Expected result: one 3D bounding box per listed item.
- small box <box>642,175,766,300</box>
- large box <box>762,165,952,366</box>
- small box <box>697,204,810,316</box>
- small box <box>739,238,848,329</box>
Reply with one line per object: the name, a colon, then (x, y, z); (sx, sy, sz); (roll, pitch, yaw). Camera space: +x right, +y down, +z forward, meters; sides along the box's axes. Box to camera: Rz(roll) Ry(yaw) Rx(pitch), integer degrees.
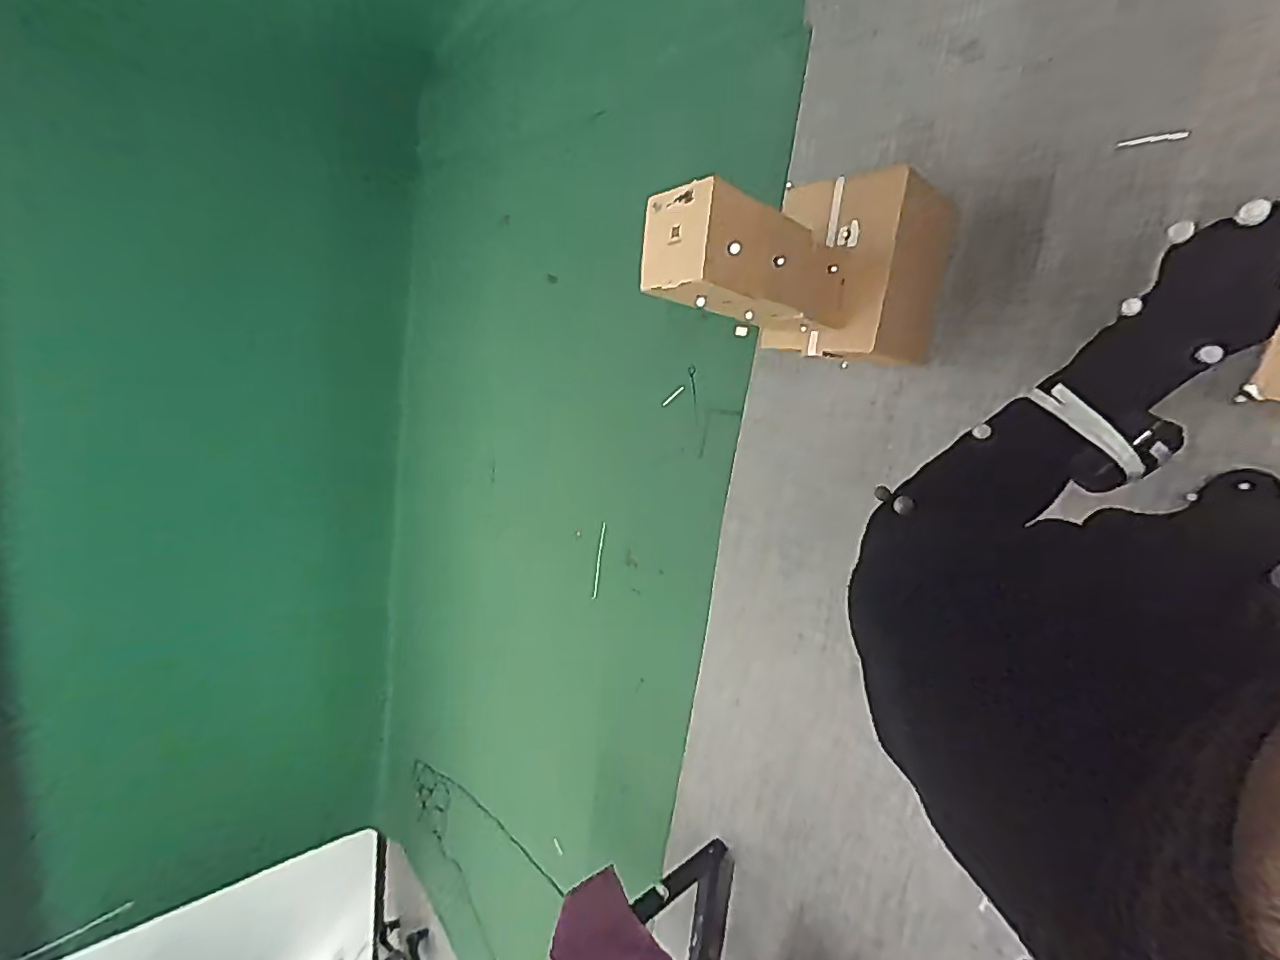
small box: (0.124, -0.449, 1.037); (0.168, 0.176, 0.179); (13, 101, 46)
large box: (0.559, -0.522, 1.407); (0.320, 0.320, 0.408); (18, 103, 45)
small box: (0.243, -0.454, 1.151); (0.168, 0.176, 0.179); (11, 98, 46)
small box: (0.361, -0.451, 1.265); (0.179, 0.176, 0.168); (17, 103, 46)
